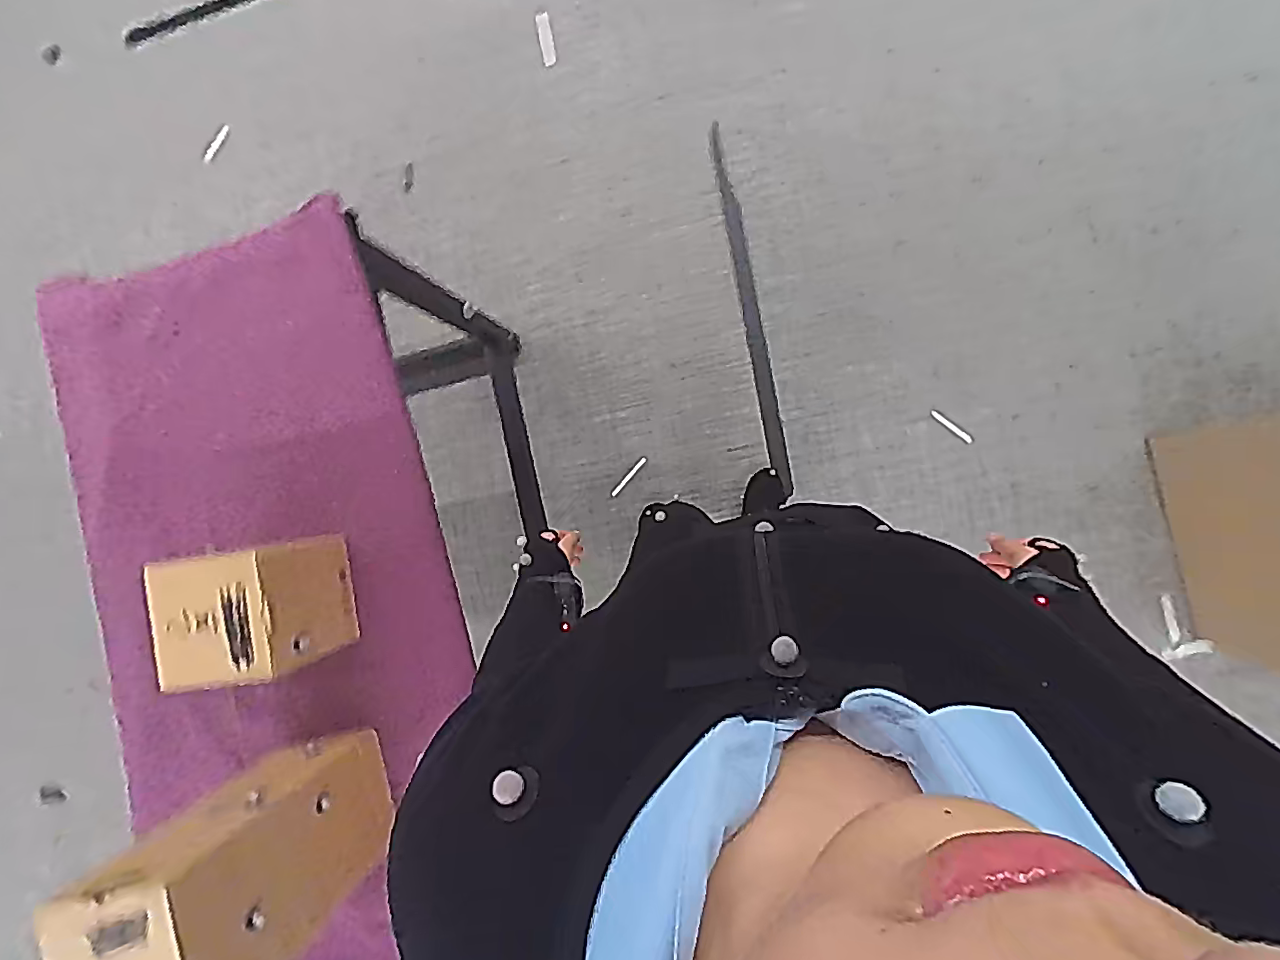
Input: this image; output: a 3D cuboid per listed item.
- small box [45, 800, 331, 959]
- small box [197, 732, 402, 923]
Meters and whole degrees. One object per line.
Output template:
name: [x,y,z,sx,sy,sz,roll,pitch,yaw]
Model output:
small box: [-0.495,0.497,0.616,0.168,0.176,0.179,-16,89,9]
small box: [-0.475,0.498,0.780,0.168,0.176,0.179,-16,88,8]
